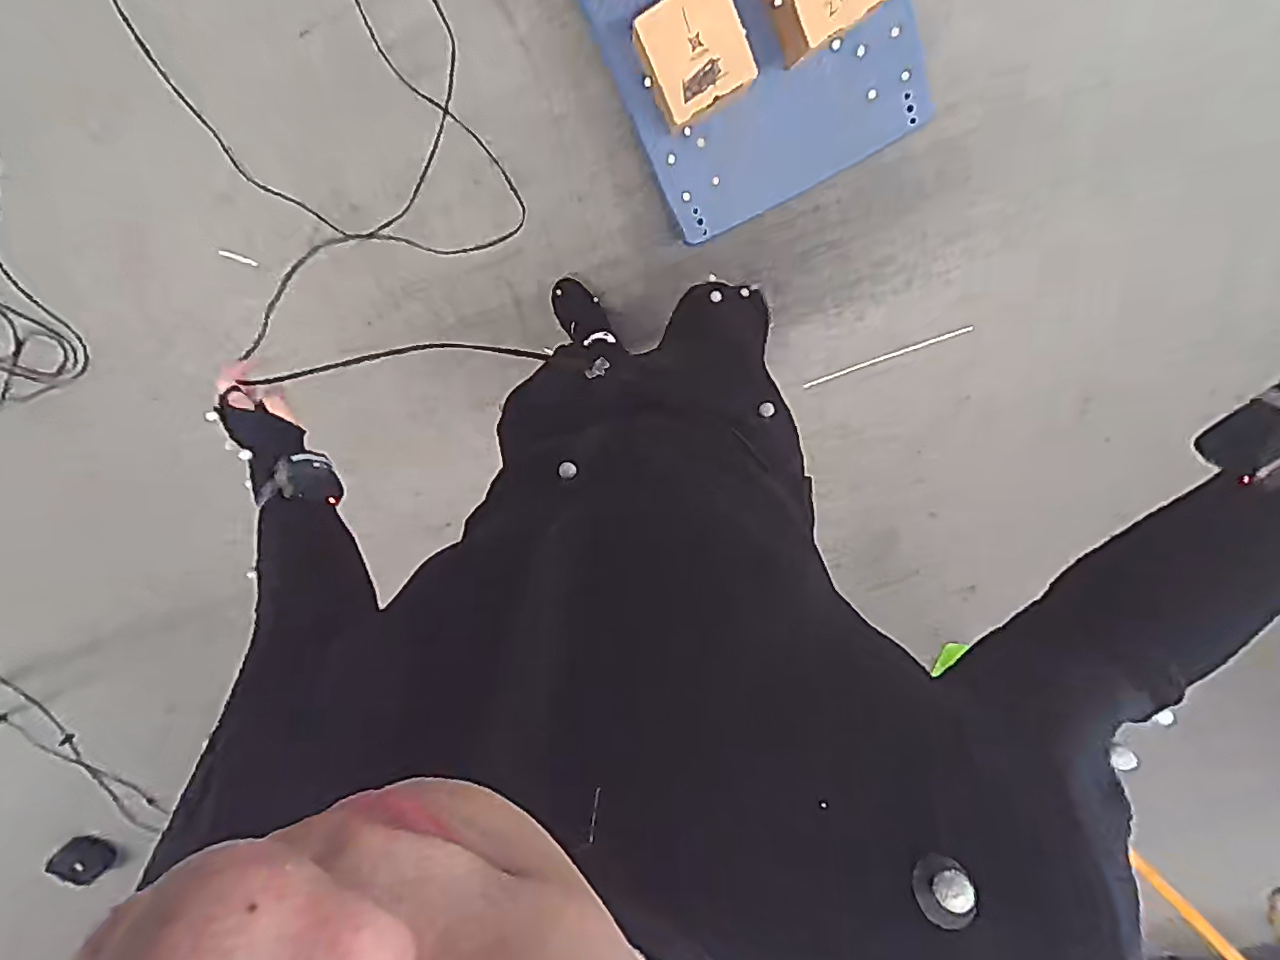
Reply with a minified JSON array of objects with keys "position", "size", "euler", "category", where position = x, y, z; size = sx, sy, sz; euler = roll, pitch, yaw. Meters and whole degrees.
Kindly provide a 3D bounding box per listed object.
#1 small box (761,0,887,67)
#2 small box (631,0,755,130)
[{"position":[0.322,-0.891,0.966],"size":[0.168,0.176,0.179],"euler":[-28,114,13],"category":"small box"},{"position":[0.095,-0.787,1.014],"size":[0.168,0.176,0.179],"euler":[-26,114,11],"category":"small box"}]
